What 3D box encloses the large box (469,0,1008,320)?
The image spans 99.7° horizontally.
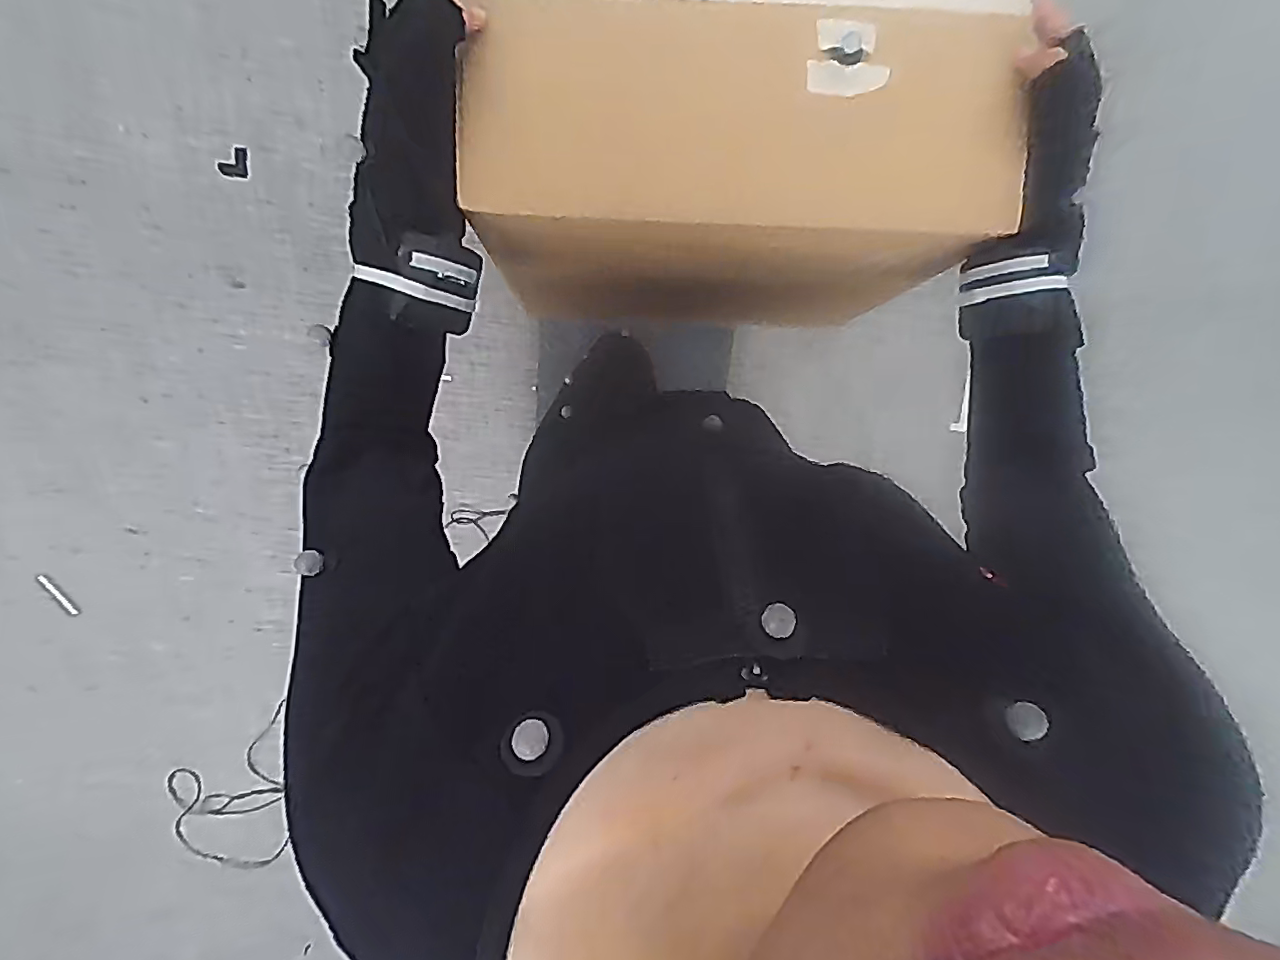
[{"bbox_3d":[0.066,-0.353,0.541,0.408,0.320,0.320,1,93,-3],"label":"large box"}]
